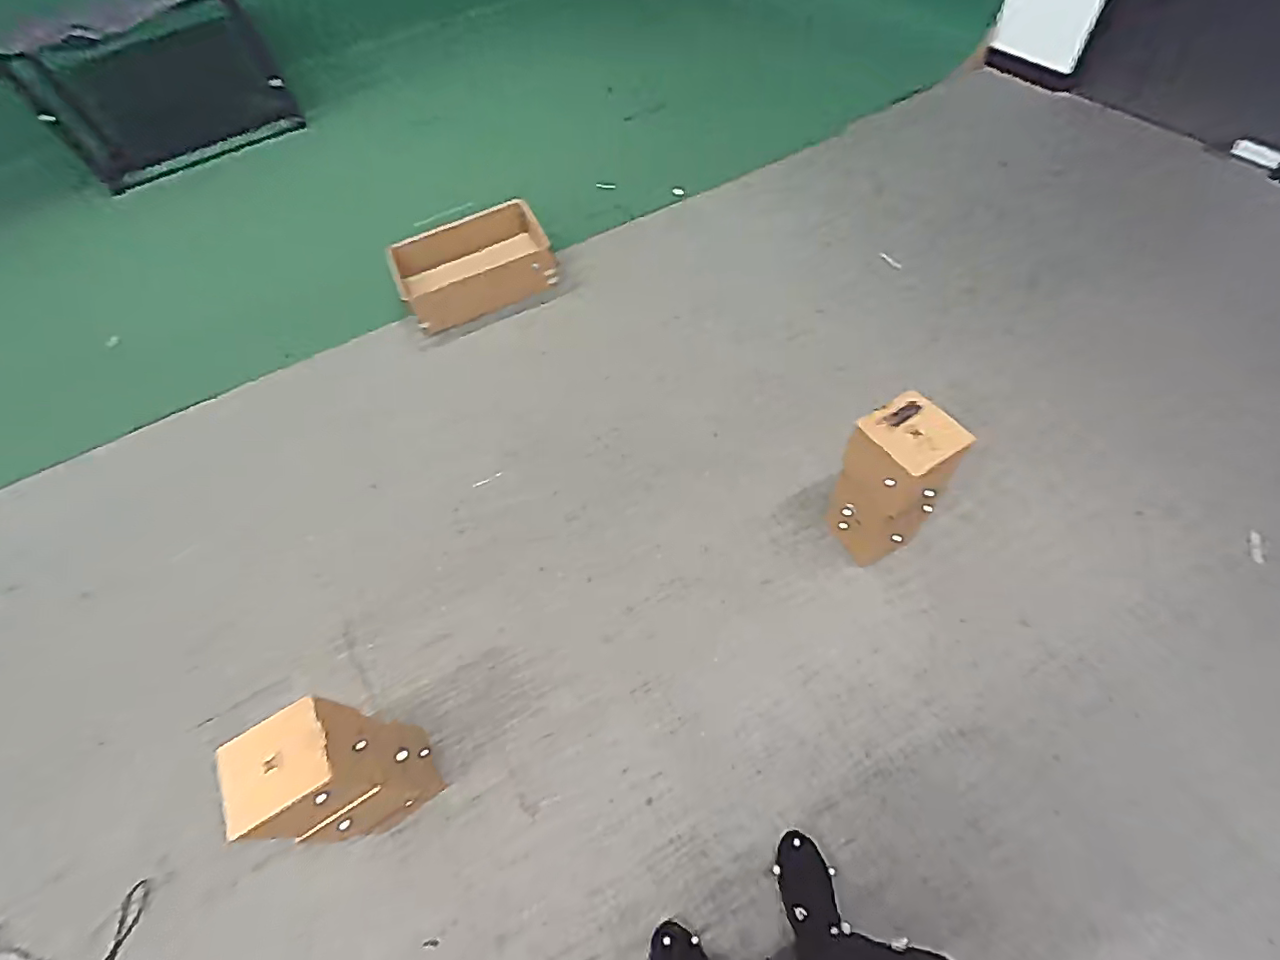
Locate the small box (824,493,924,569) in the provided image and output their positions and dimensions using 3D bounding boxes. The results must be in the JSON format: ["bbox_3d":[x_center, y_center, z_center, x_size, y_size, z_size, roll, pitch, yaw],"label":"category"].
[{"bbox_3d":[0.629,0.112,1.483,0.168,0.176,0.179,-26,57,-8],"label":"small box"}]

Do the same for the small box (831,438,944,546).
[{"bbox_3d":[0.603,0.033,1.343,0.179,0.176,0.168,-27,56,-8],"label":"small box"}]

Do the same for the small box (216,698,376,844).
[{"bbox_3d":[-0.628,0.539,0.998,0.179,0.176,0.168,-30,58,-13],"label":"small box"}]

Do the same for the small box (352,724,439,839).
[{"bbox_3d":[-0.600,0.710,1.275,0.179,0.176,0.168,-34,59,-13],"label":"small box"}]

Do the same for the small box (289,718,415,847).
[{"bbox_3d":[-0.608,0.633,1.130,0.179,0.176,0.168,-30,59,-12],"label":"small box"}]
